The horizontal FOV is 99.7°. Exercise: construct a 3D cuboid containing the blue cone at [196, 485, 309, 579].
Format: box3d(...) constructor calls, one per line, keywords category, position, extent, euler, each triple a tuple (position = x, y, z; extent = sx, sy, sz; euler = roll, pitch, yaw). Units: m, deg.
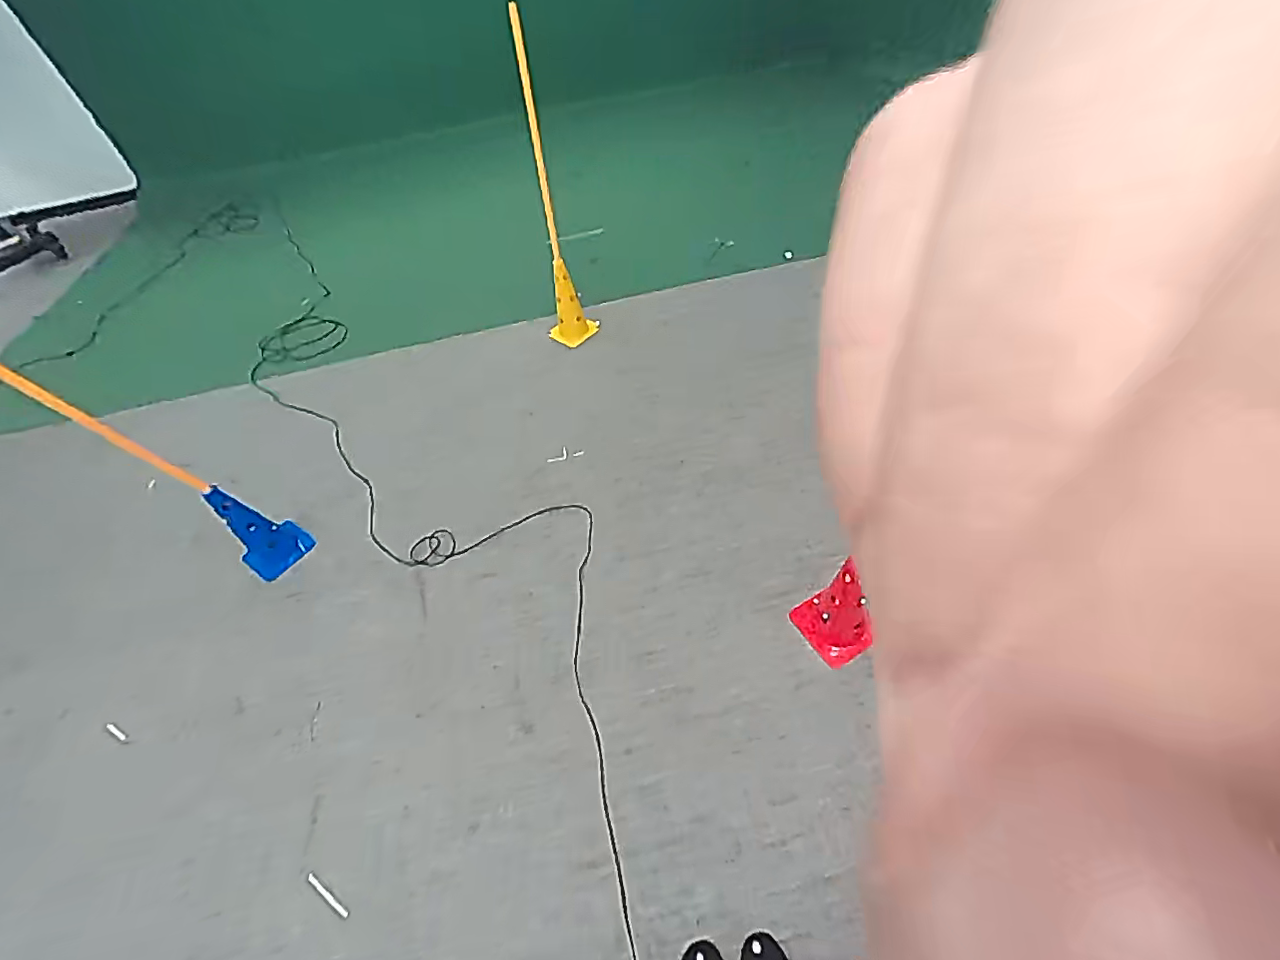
box3d(category="blue cone", position=(-1.304, 0.147, 1.781), extent=(0.192, 0.380, 0.193), euler=(24, 59, 25))
